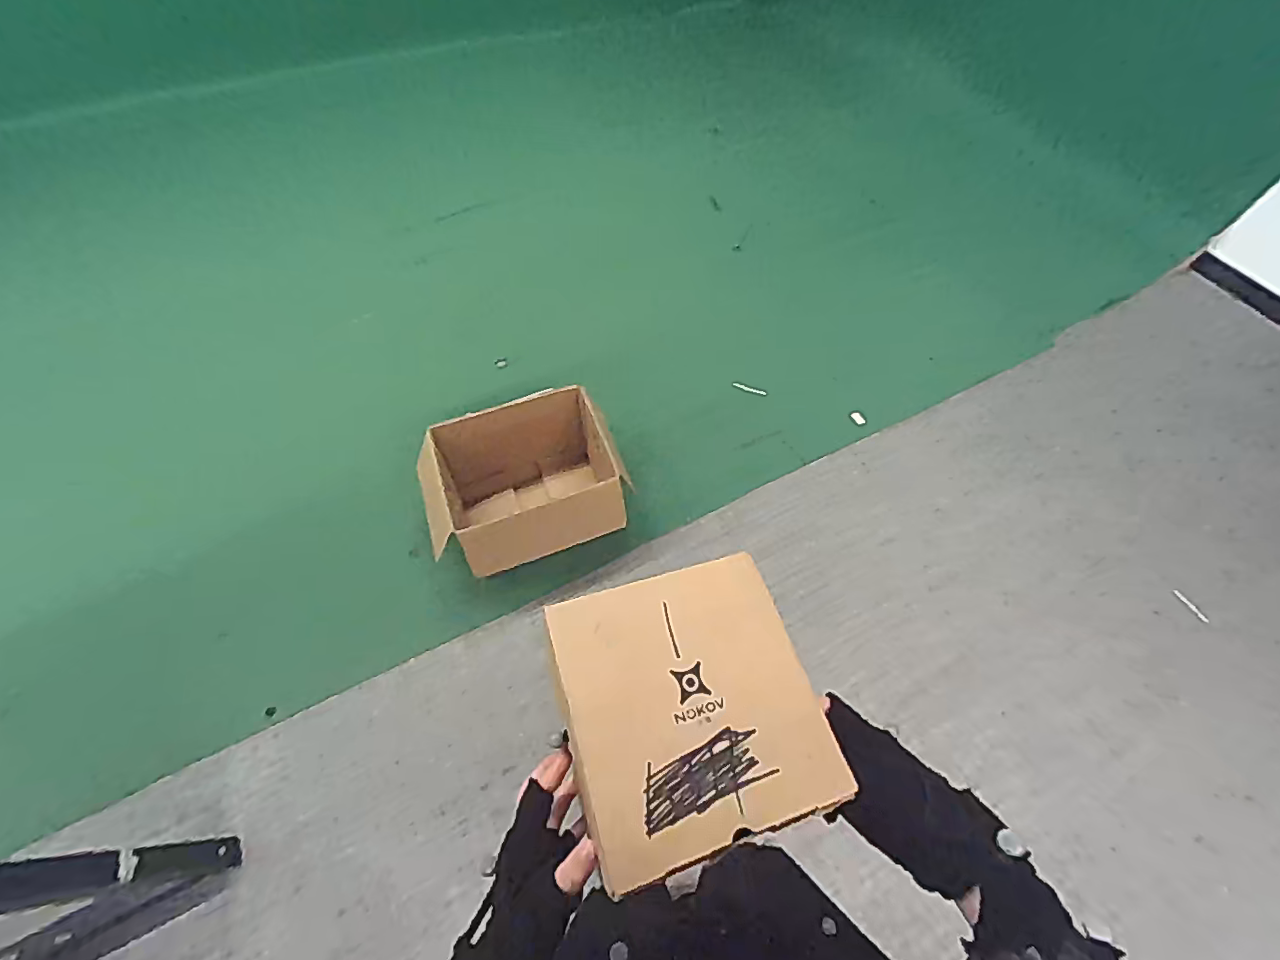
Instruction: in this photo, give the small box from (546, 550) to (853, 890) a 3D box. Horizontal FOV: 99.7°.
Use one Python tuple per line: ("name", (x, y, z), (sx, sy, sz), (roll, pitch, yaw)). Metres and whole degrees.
("small box", (0.026, 0.182, 0.428), (0.168, 0.176, 0.179), (-12, 61, -15))
